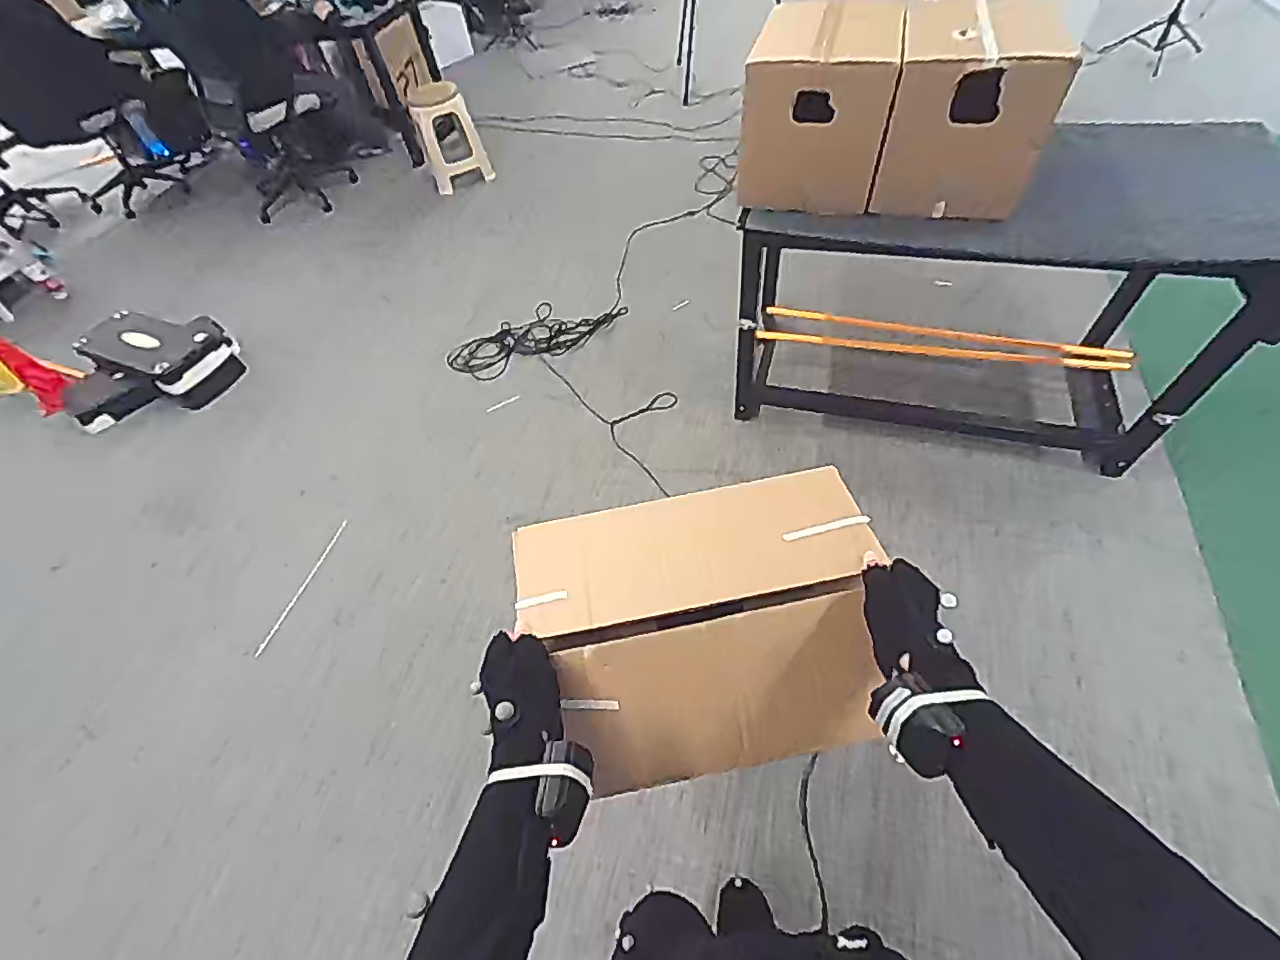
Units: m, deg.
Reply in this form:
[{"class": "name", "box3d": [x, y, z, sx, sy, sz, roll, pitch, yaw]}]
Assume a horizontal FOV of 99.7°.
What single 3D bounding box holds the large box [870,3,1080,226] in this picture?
[{"class": "large box", "box3d": [0.742, -0.854, 1.267, 0.320, 0.320, 0.408, 10, 56, 15]}]
